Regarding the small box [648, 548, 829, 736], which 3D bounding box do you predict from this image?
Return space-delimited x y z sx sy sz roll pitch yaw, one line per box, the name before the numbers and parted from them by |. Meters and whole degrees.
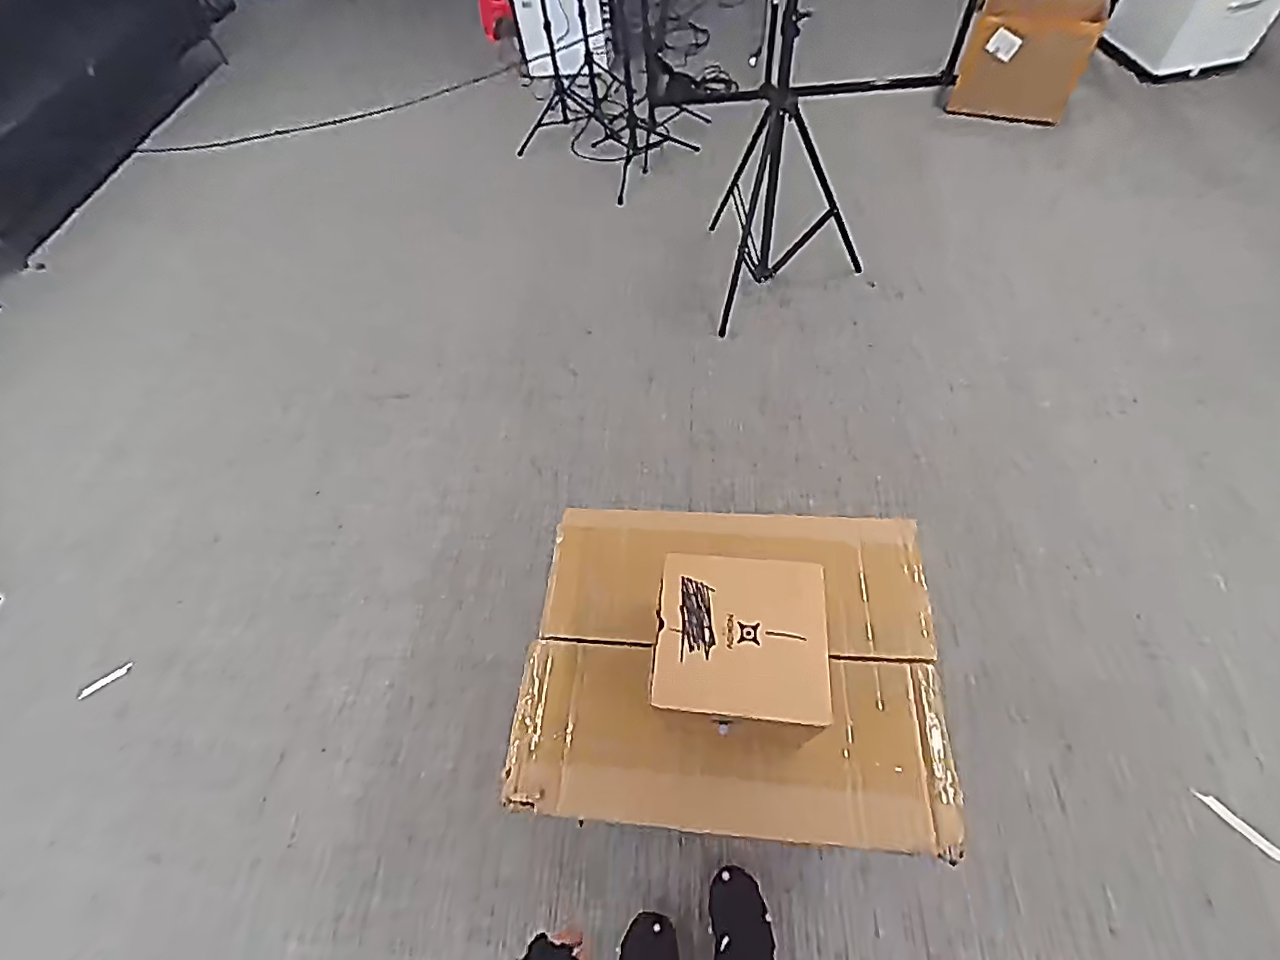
small box | 0.110 0.192 0.627 0.179 0.176 0.168 3 59 8
